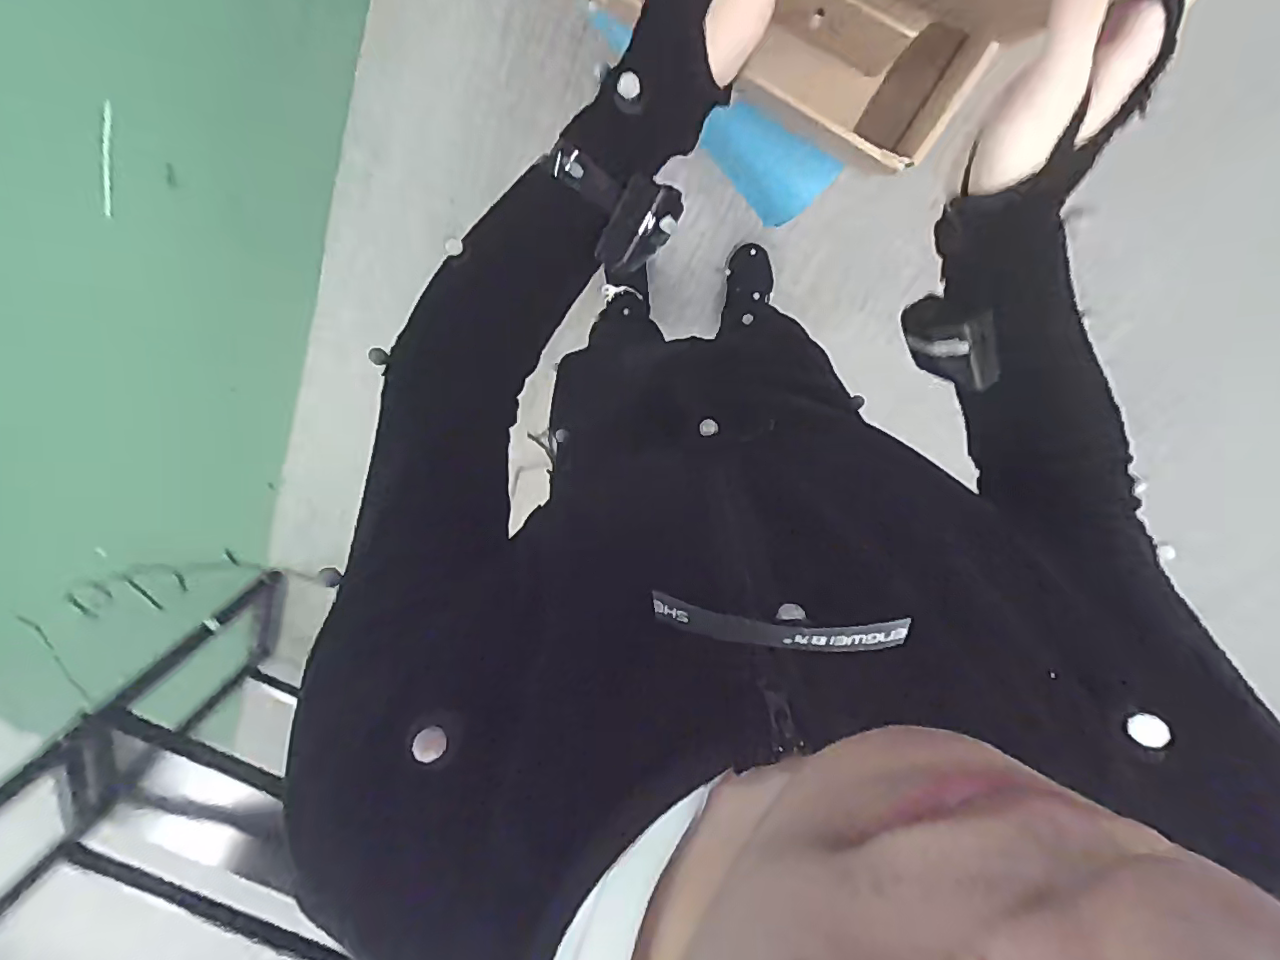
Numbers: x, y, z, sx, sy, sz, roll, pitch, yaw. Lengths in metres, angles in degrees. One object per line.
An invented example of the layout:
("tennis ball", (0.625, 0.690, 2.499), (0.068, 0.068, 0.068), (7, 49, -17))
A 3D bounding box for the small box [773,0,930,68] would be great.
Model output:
("small box", (0.260, -0.594, 0.589), (0.179, 0.176, 0.168), (27, 116, -2))

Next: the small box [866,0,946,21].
("small box", (0.232, -0.527, 0.443), (0.179, 0.176, 0.168), (25, 117, -2))
